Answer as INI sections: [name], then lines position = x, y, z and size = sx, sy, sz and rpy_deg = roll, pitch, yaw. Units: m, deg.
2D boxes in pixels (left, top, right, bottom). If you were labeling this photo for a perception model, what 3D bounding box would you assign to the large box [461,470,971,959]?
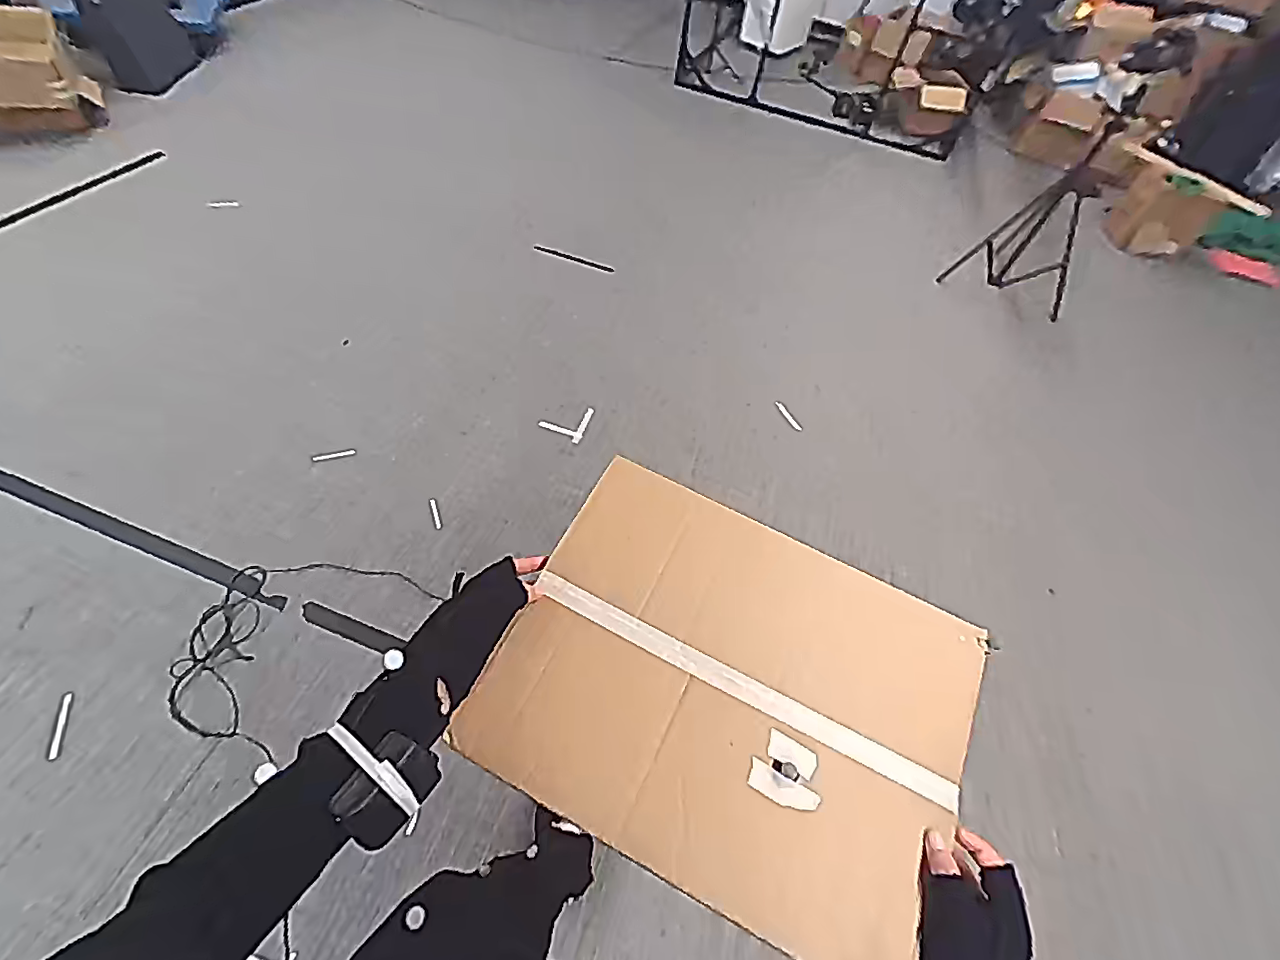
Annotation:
[large box]
position = 0.075, 0.255, 0.630
size = 0.408, 0.320, 0.320
rpy_deg = 26, 64, 9
